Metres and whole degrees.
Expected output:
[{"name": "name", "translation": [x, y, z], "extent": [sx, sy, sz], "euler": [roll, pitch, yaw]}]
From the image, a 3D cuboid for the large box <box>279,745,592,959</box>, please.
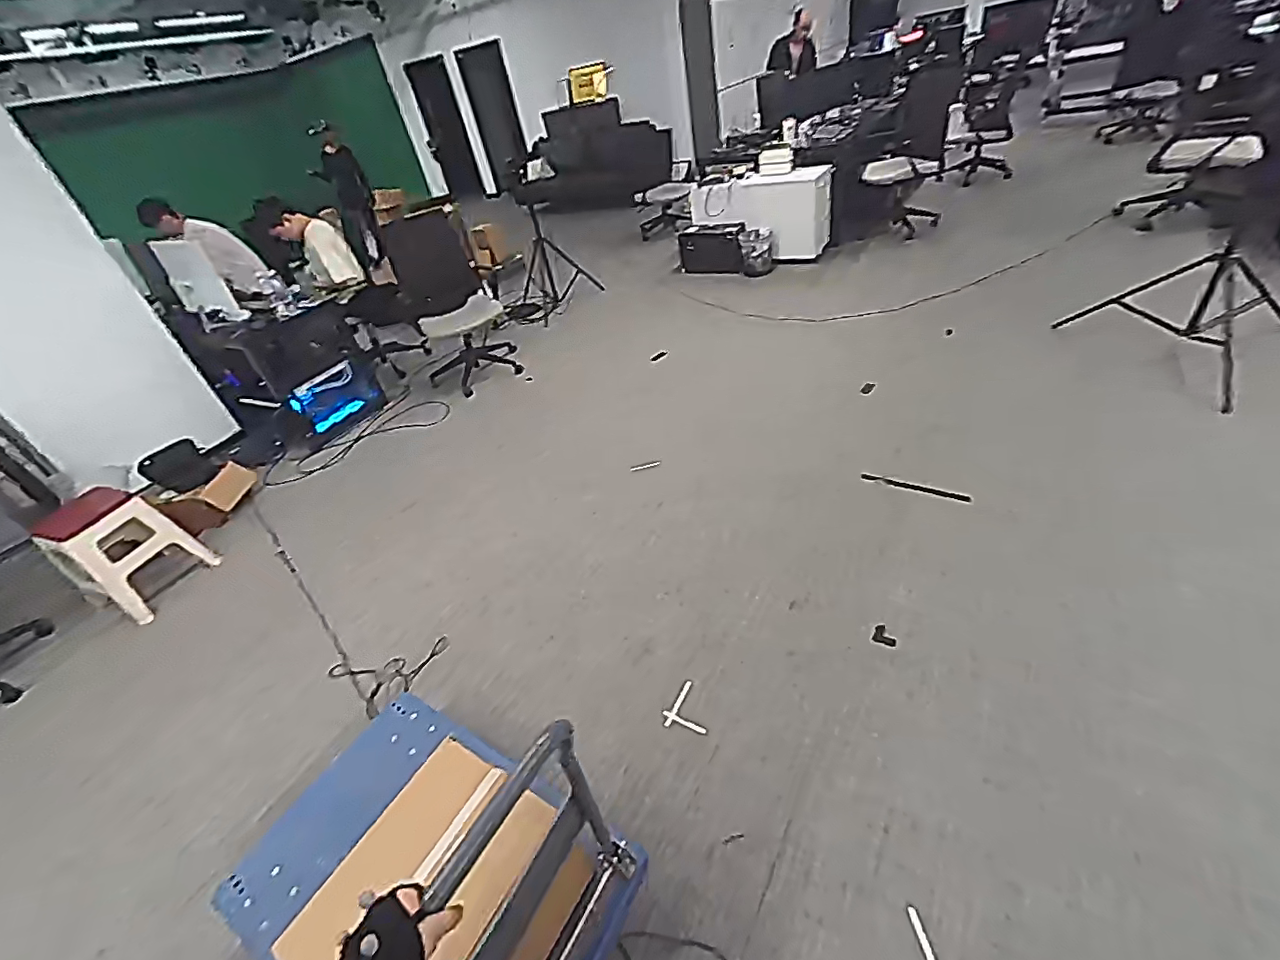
[{"name": "large box", "translation": [-0.351, 0.823, 1.032], "extent": [0.320, 0.320, 0.408], "euler": [14, 44, 30]}]
